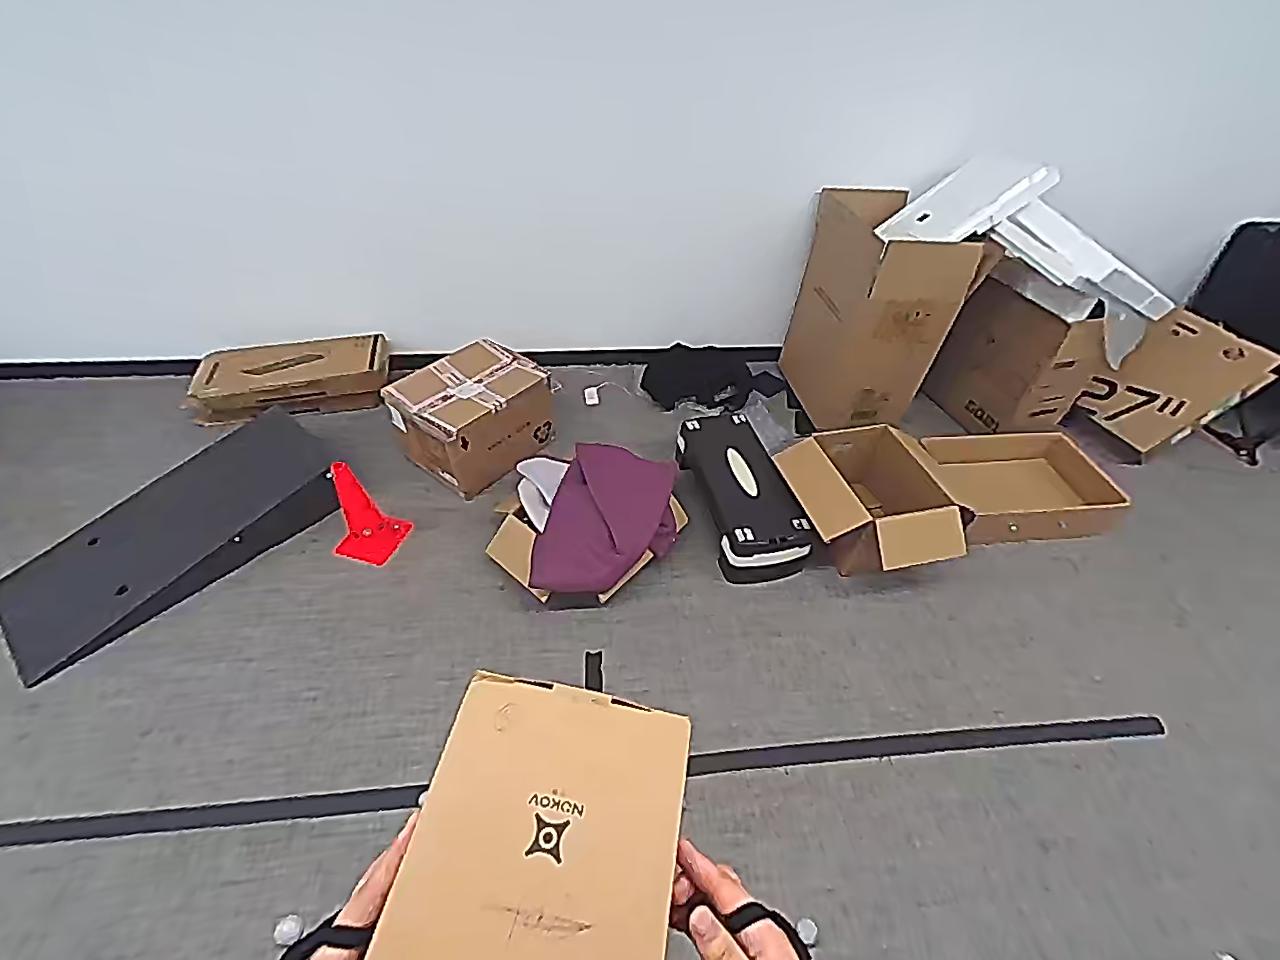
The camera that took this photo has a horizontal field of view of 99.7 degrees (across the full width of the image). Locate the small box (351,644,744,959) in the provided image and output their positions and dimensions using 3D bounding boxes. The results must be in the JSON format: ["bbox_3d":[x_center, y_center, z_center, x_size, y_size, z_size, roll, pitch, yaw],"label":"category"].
[{"bbox_3d":[-0.042,0.227,0.326,0.168,0.176,0.179,11,52,2],"label":"small box"}]
